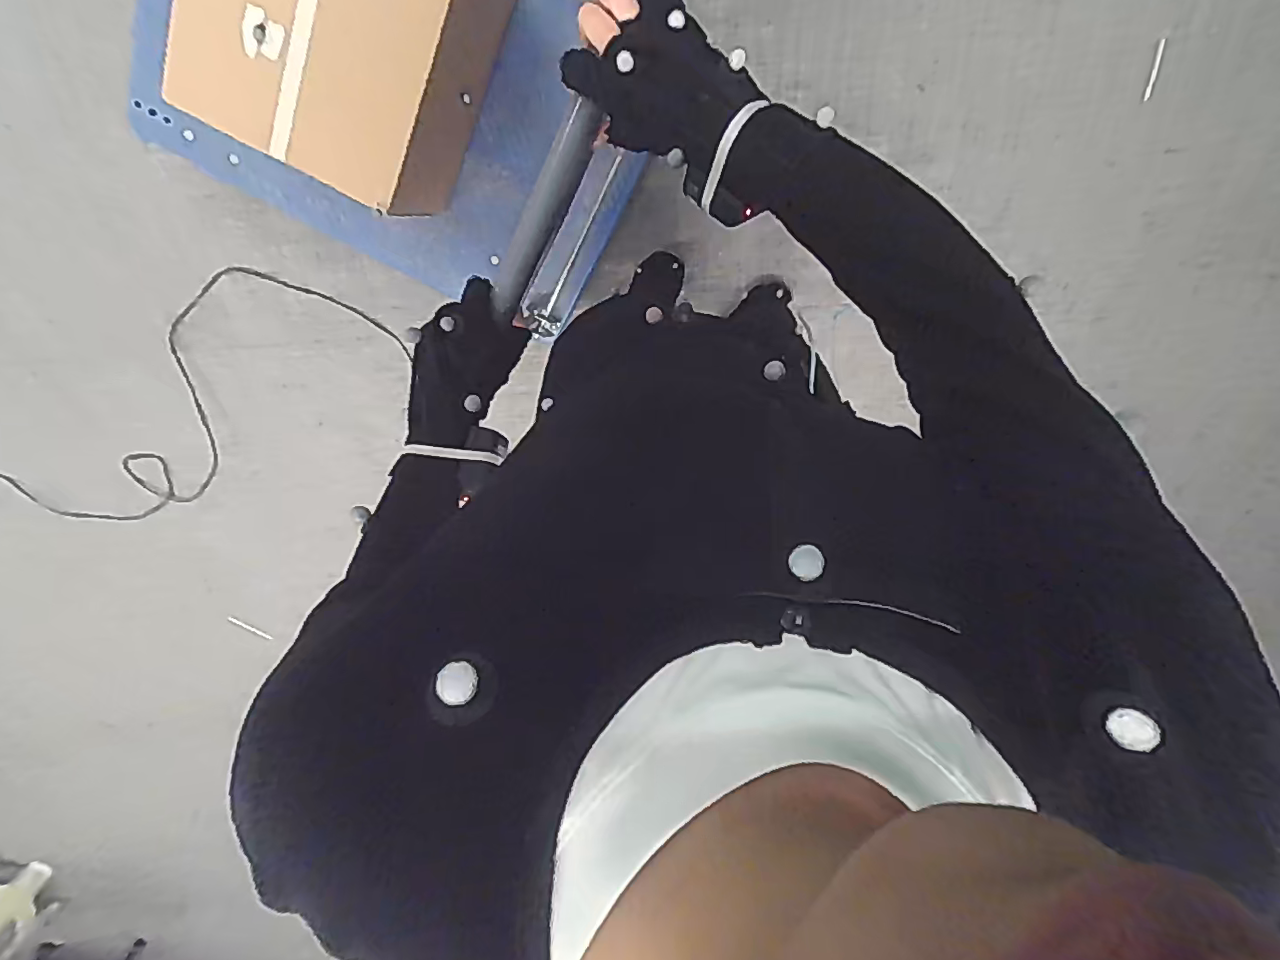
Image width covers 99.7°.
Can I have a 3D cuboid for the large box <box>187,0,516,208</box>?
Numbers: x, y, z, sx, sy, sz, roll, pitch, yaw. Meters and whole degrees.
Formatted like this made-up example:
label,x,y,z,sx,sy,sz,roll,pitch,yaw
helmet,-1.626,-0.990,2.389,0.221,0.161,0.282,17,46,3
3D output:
label,x,y,z,sx,sy,sz,roll,pitch,yaw
large box,-0.421,-0.705,0.851,0.320,0.320,0.408,25,114,-13
